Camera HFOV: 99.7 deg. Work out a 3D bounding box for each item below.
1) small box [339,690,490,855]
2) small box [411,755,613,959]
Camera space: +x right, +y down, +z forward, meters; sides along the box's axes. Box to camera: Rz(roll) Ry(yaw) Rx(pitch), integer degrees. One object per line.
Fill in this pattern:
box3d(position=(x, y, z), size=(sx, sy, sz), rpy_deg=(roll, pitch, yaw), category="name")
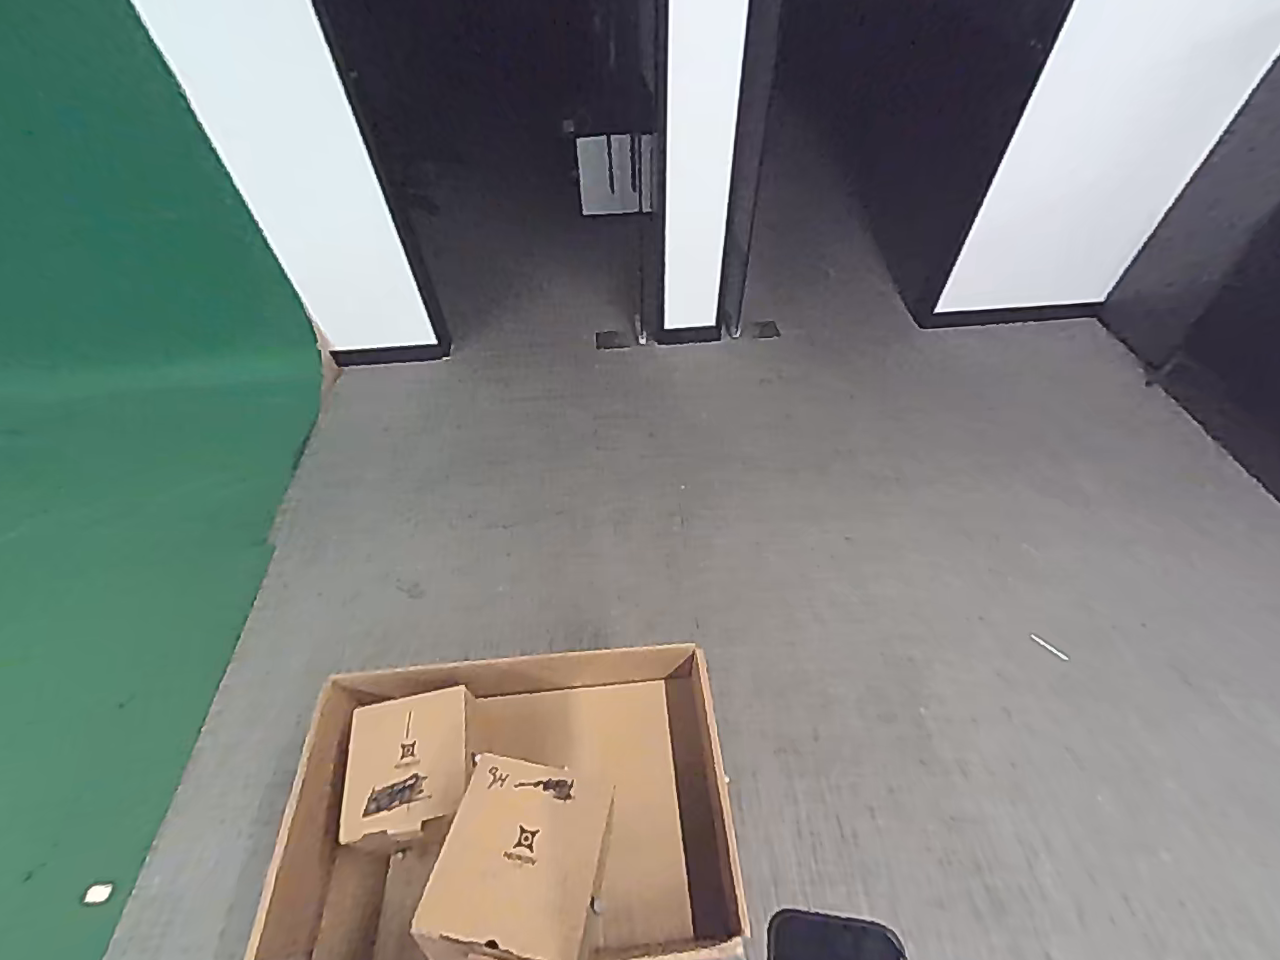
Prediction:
box3d(position=(-0.328, 0.451, 0.825), size=(0.168, 0.176, 0.179), rpy_deg=(-10, 49, -7), category="small box")
box3d(position=(-0.129, 0.459, 0.624), size=(0.168, 0.176, 0.179), rpy_deg=(9, 37, 7), category="small box")
